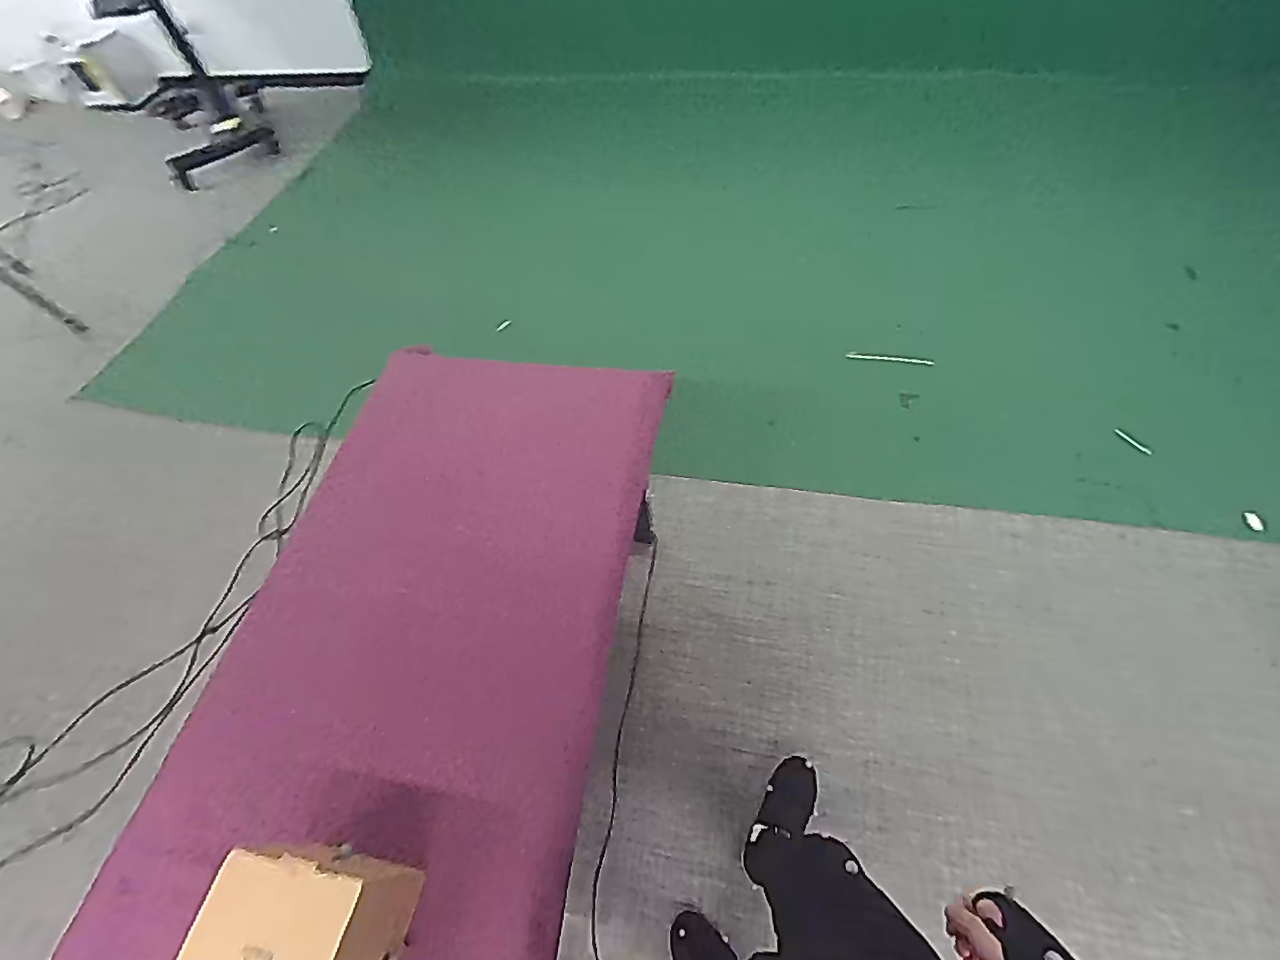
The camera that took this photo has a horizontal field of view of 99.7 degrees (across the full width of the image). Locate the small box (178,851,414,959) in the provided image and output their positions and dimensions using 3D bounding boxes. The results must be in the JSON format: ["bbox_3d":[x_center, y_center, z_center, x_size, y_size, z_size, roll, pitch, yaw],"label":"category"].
[{"bbox_3d":[-0.379,0.533,0.600,0.168,0.176,0.179,7,57,10],"label":"small box"}]
